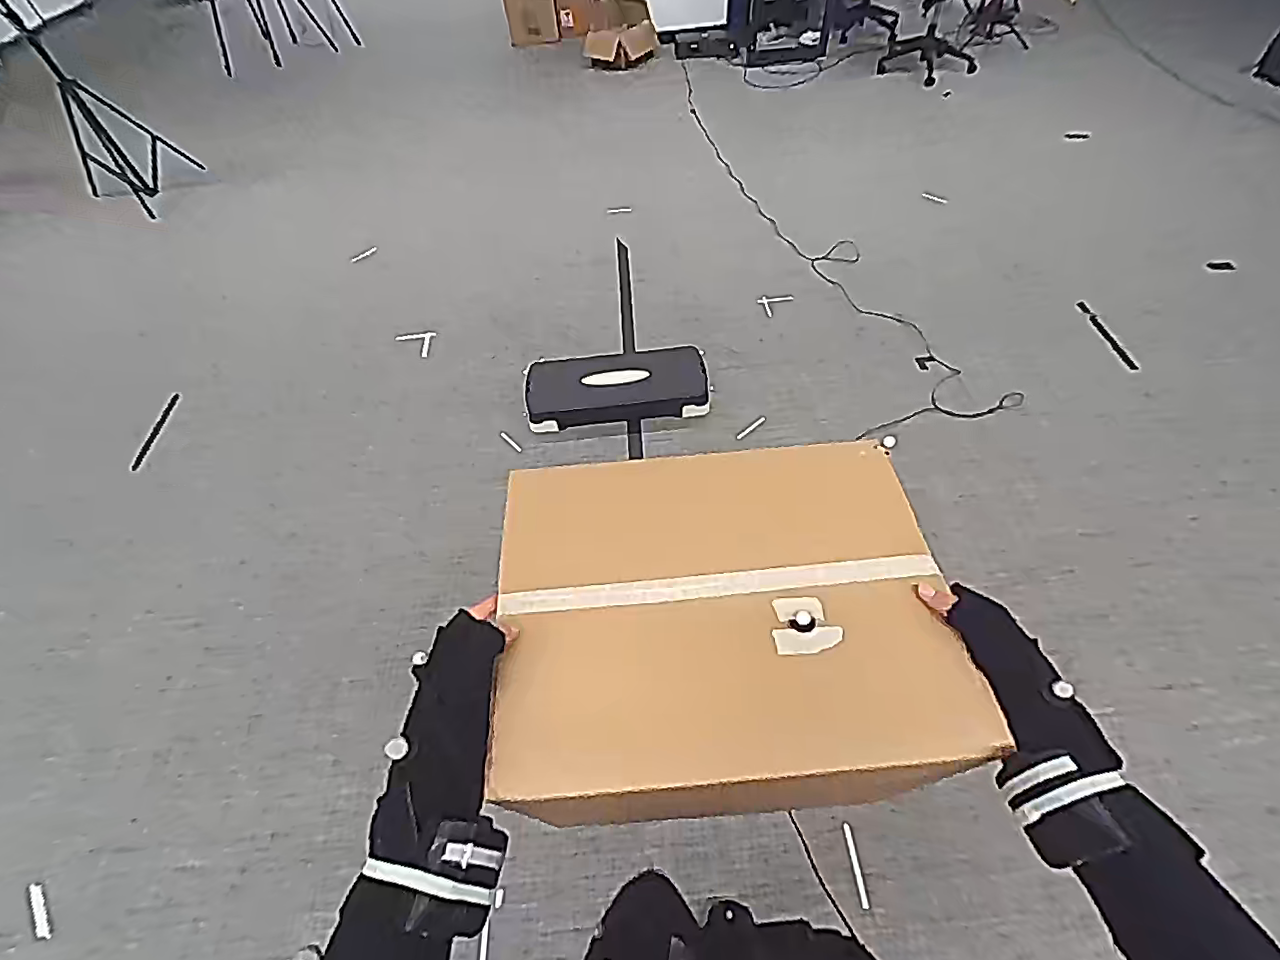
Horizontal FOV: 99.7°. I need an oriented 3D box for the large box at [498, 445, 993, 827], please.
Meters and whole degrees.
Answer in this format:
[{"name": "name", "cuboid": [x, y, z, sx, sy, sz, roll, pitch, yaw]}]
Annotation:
[{"name": "large box", "cuboid": [0.077, 0.190, 0.629, 0.408, 0.320, 0.320, -5, 54, 0]}]
